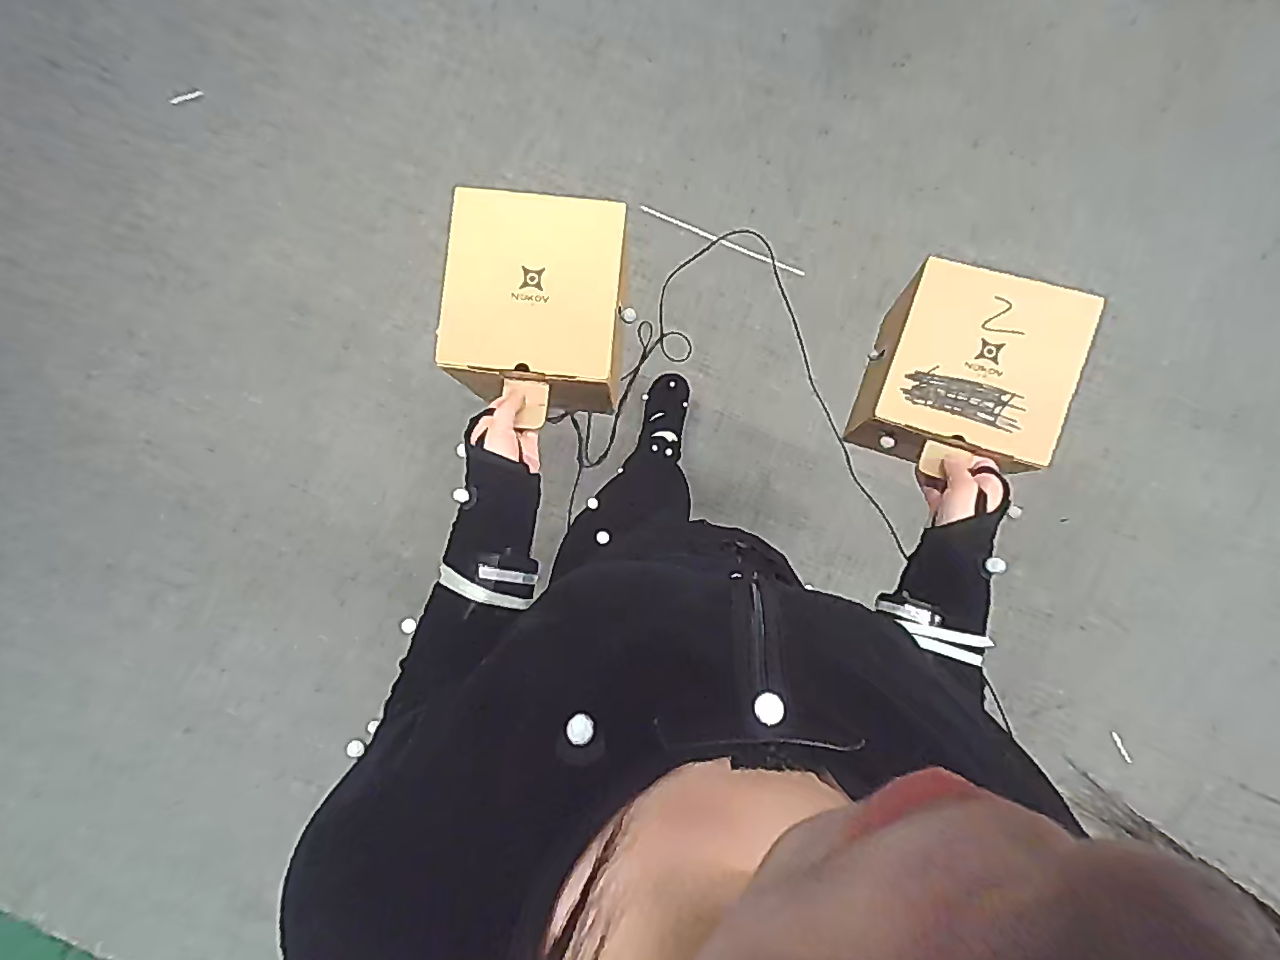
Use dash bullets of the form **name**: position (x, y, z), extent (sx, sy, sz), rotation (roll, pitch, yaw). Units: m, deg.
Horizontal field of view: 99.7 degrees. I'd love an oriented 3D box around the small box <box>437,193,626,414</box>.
- **small box**: position (-0.106, -0.181, 0.601), extent (0.168, 0.176, 0.179), rotation (6, 87, 0)
